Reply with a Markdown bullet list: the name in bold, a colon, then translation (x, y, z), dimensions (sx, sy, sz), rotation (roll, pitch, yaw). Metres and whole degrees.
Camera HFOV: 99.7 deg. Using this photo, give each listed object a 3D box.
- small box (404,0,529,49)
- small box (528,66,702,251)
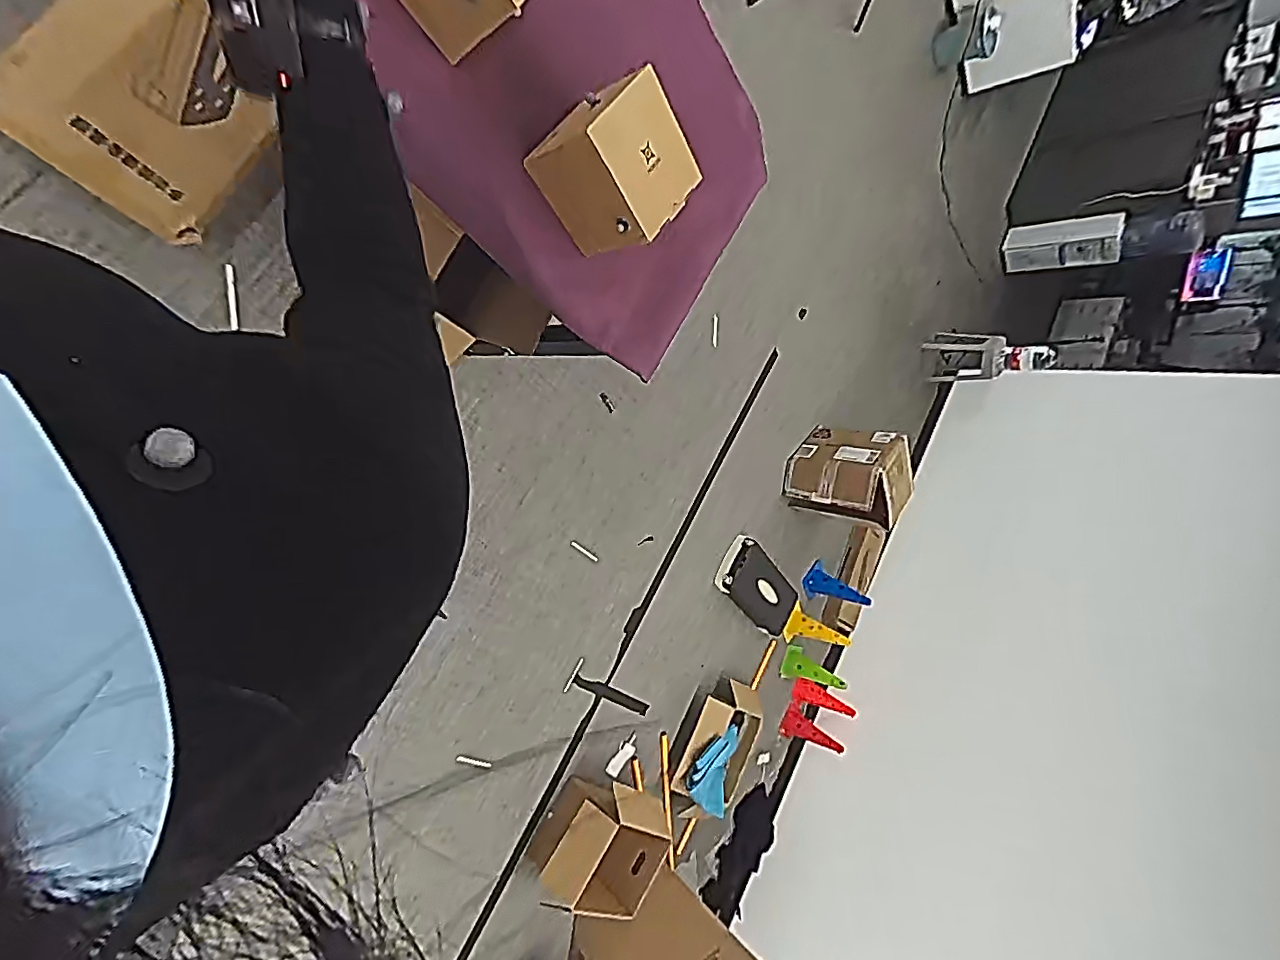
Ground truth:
- **small box**: translation (-0.208, -0.660, 0.638), dimensions (0.179, 0.176, 0.168), rotation (41, 69, -42)
- **small box**: translation (-0.040, -0.485, 0.845), dimensions (0.168, 0.176, 0.179), rotation (-56, 132, -18)
